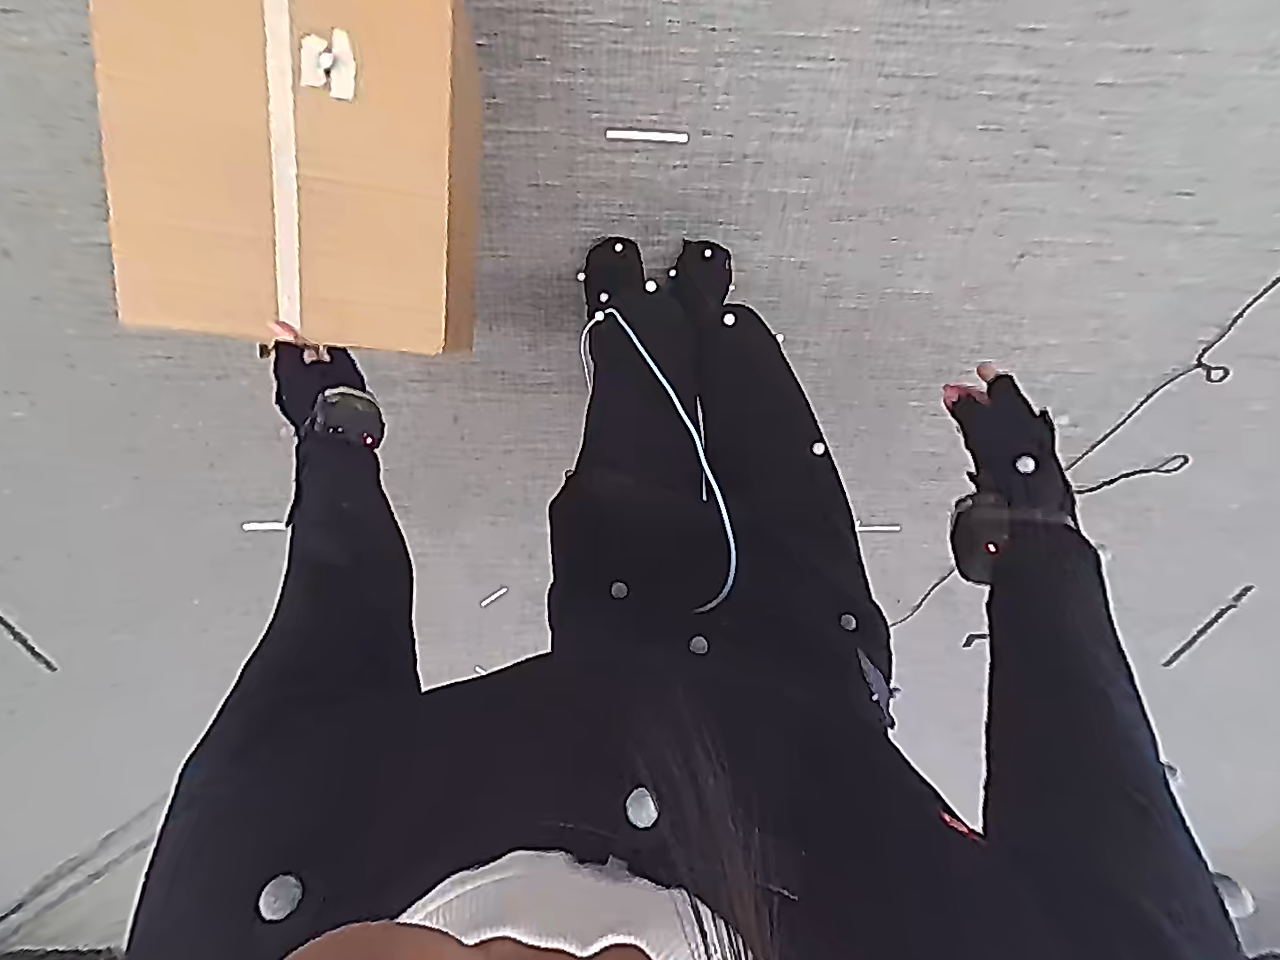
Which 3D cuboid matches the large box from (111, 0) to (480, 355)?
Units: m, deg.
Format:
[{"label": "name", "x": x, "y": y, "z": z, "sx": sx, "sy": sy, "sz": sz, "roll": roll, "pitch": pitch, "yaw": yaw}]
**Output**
[{"label": "large box", "x": -0.383, "y": -0.378, "z": 0.701, "sx": 0.320, "sy": 0.320, "sz": 0.408, "roll": 2, "pitch": 101, "yaw": -12}]
